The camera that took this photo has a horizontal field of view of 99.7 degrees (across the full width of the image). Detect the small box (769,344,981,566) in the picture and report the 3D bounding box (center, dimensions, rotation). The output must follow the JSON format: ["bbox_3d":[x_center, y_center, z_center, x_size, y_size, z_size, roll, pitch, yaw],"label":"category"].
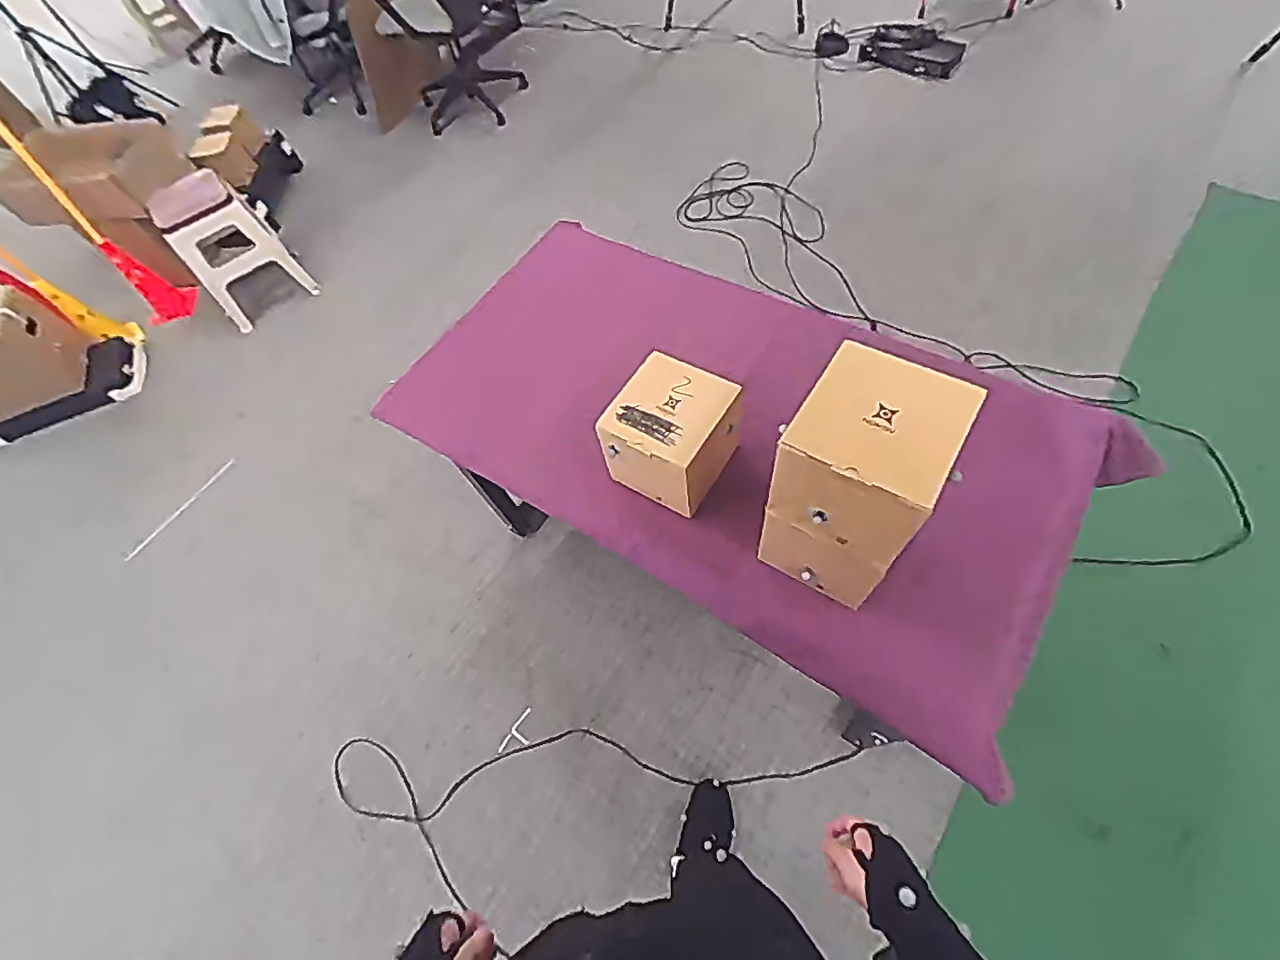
[{"bbox_3d":[0.271,-0.026,0.661,0.168,0.176,0.179,28,68,21],"label":"small box"}]

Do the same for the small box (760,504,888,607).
[{"bbox_3d":[0.289,0.057,0.800,0.168,0.176,0.179,28,68,22],"label":"small box"}]
